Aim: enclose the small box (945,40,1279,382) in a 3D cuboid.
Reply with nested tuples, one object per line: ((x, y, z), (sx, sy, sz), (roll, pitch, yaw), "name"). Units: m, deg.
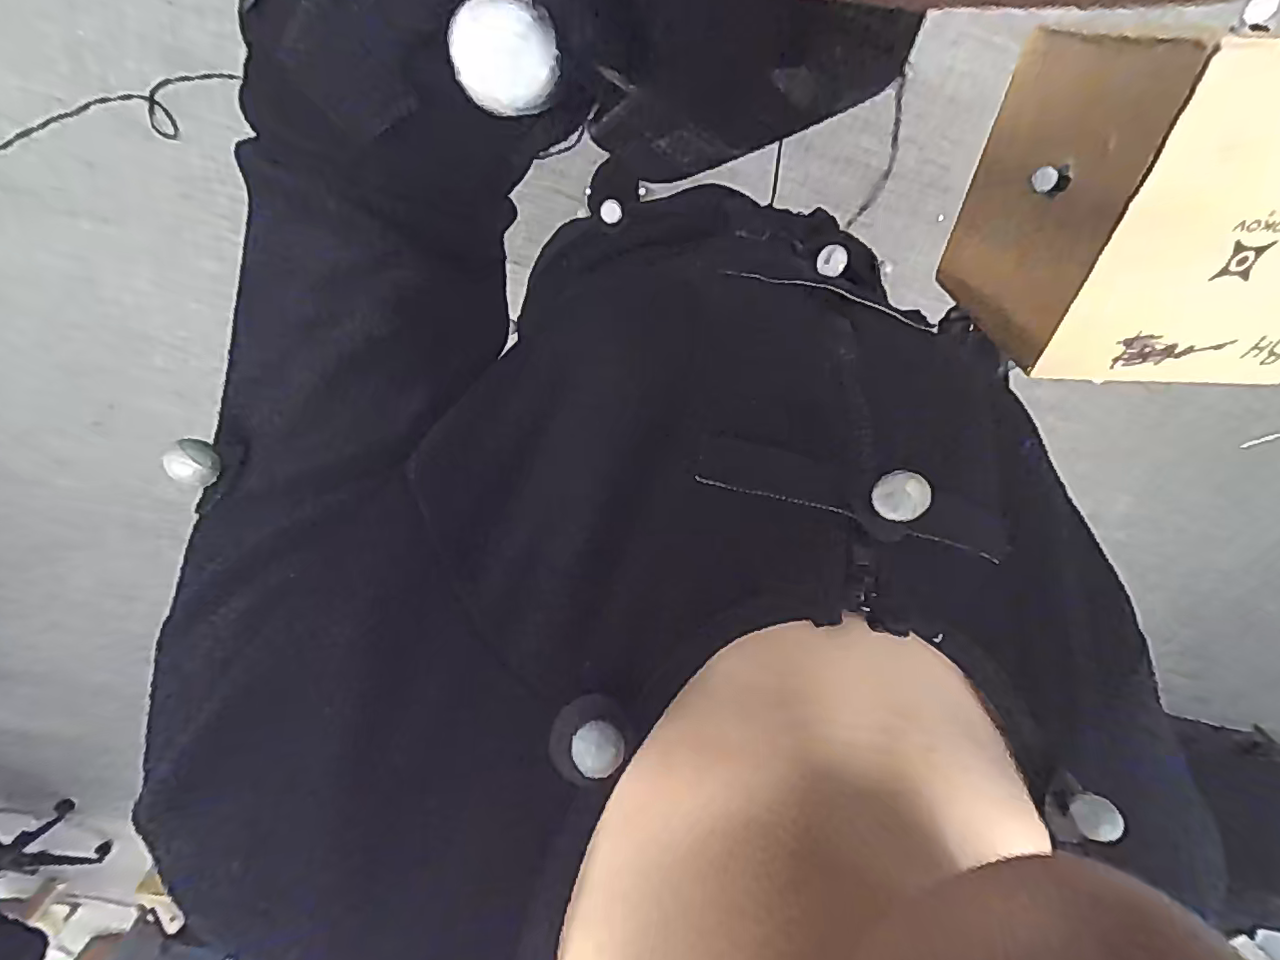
((0.342, -0.185, 0.367), (0.168, 0.176, 0.179), (2, 131, 1), "small box")
